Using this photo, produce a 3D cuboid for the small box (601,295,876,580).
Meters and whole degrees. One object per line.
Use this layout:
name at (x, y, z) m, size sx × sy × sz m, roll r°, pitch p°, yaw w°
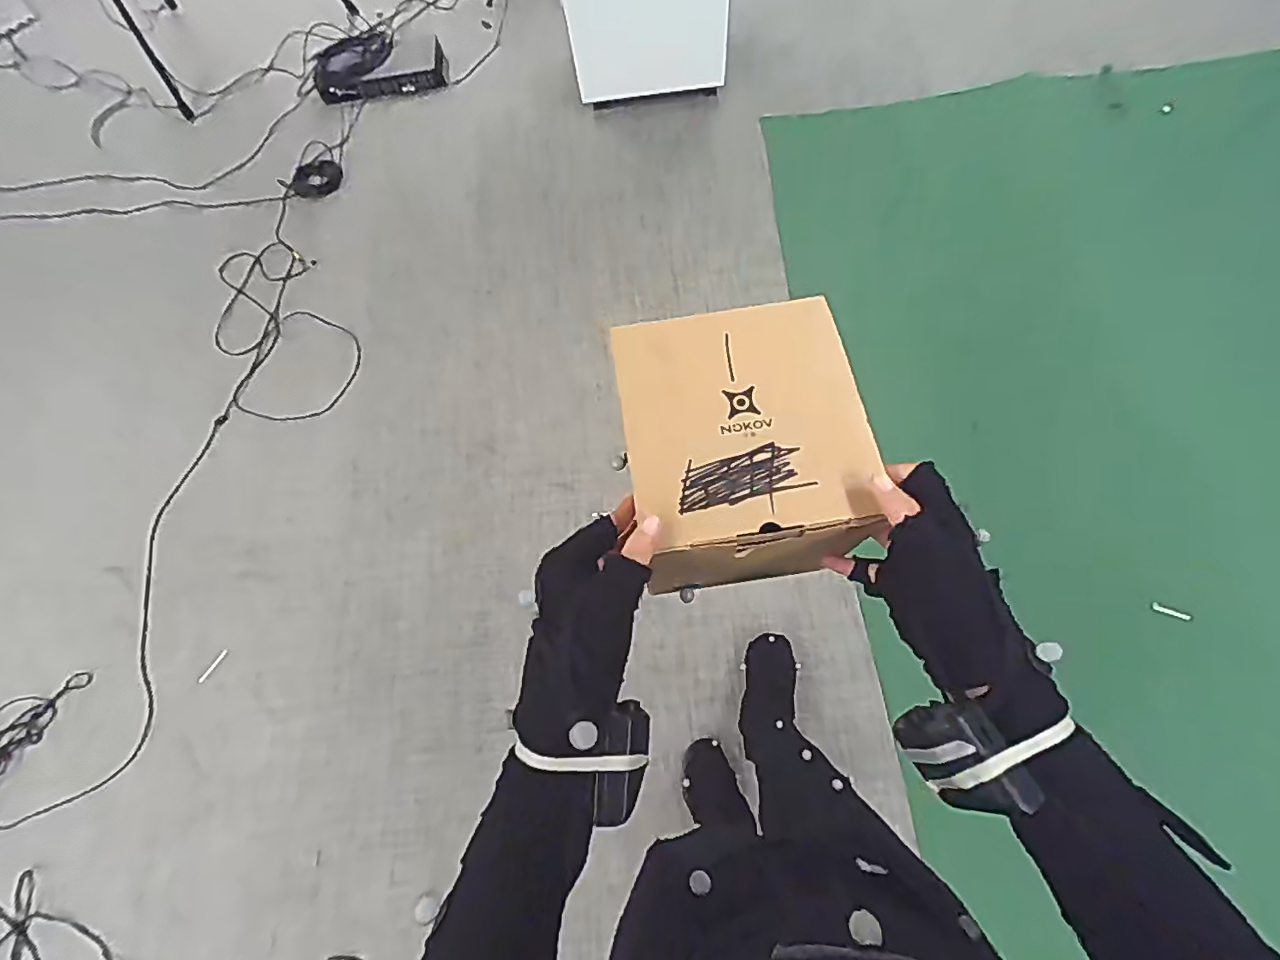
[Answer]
small box at (0.066, -0.020, 0.449) m, size 0.168 × 0.176 × 0.179 m, roll -8°, pitch 68°, yaw 0°
